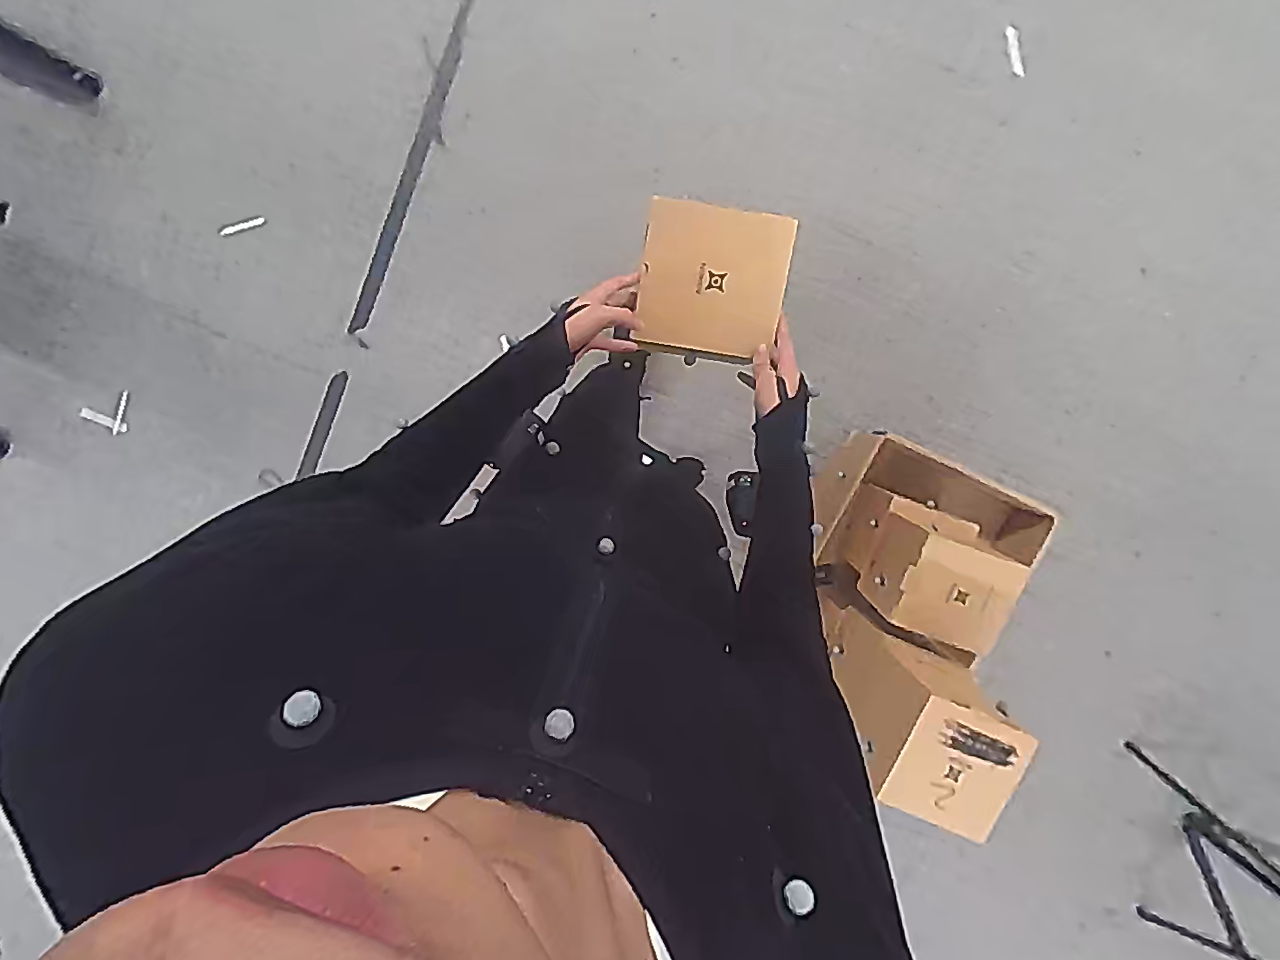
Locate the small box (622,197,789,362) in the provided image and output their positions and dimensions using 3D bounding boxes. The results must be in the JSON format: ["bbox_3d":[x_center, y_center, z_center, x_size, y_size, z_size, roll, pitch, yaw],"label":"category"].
[{"bbox_3d":[0.078,-0.252,0.718,0.179,0.176,0.168,9,101,0],"label":"small box"}]

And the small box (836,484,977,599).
[{"bbox_3d":[0.539,0.117,1.117,0.179,0.176,0.168,20,99,-1],"label":"small box"}]
